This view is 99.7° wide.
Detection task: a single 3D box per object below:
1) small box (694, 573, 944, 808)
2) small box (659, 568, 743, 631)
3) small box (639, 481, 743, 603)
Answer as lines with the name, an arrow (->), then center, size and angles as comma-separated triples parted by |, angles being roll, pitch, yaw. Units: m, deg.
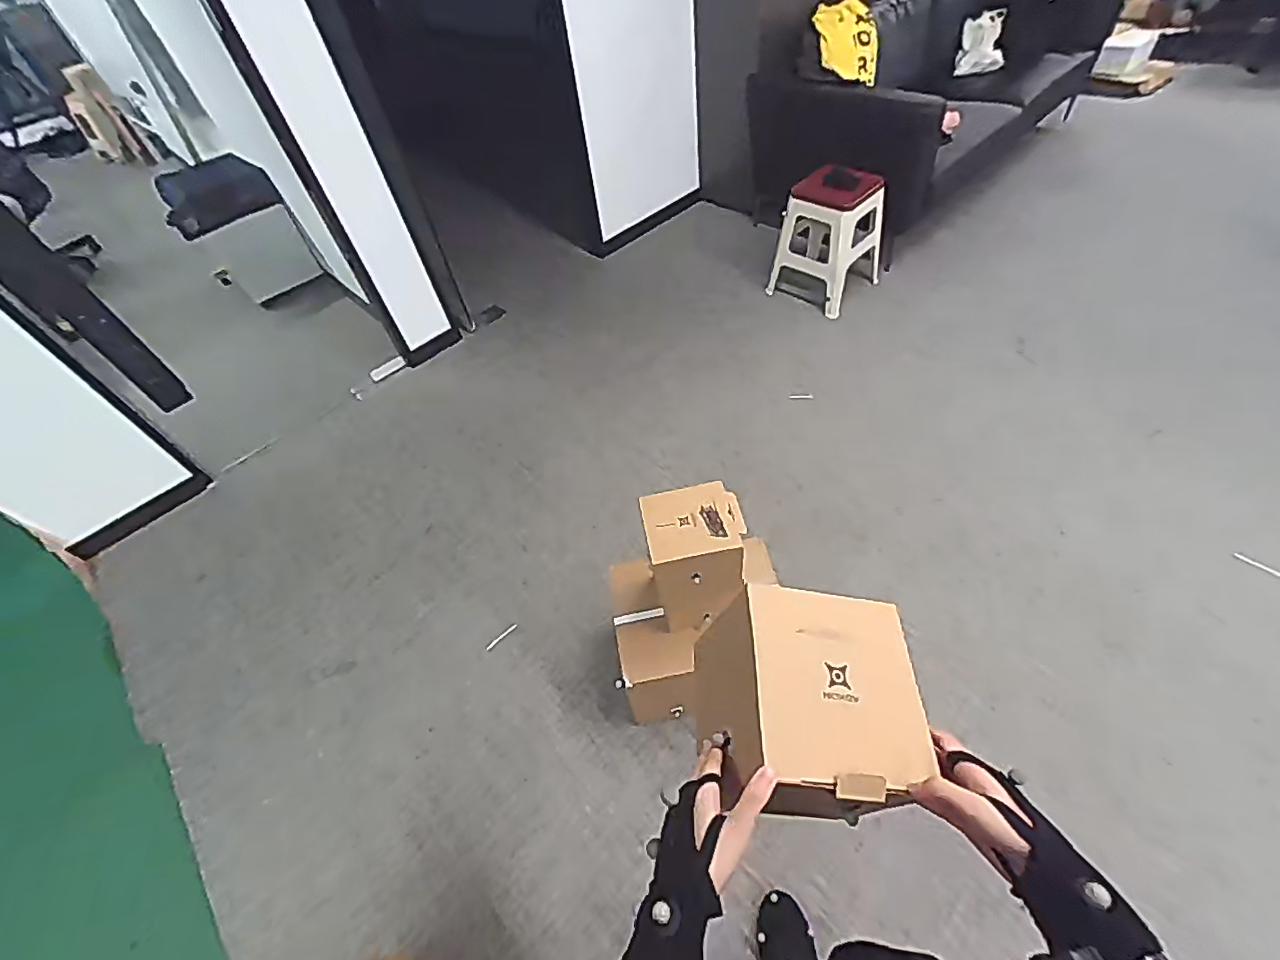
small box -> 0.159, 0.220, 0.547 | 0.168, 0.176, 0.179 | 11, 51, -10
small box -> 0.123, 0.221, 1.237 | 0.179, 0.176, 0.168 | -13, 49, -5
small box -> 0.101, 0.129, 1.101 | 0.179, 0.176, 0.168 | -11, 49, -1
